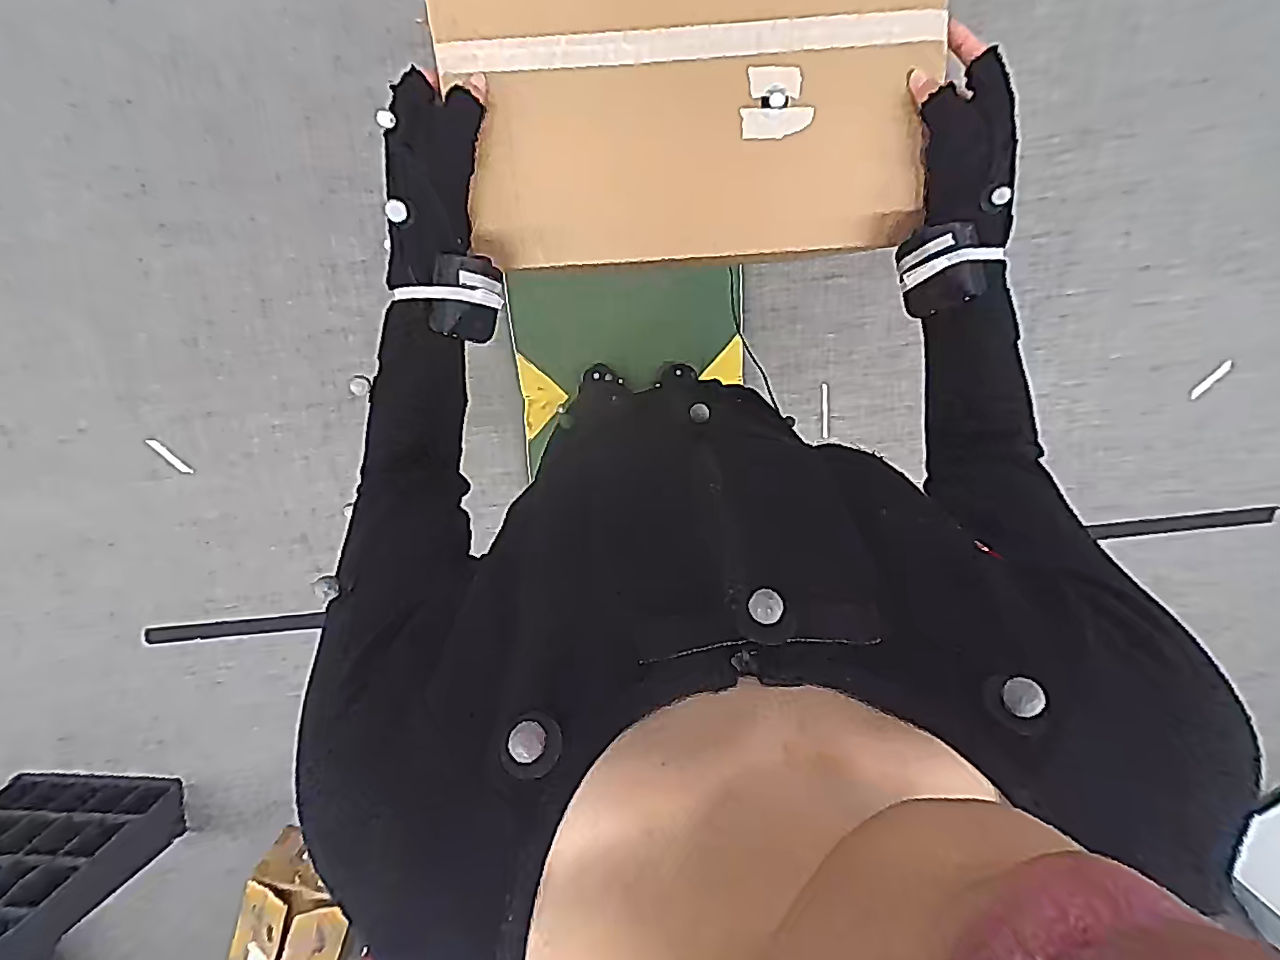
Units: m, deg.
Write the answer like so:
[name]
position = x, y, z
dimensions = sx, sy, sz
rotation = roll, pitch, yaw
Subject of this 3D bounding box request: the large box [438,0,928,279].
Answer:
[large box]
position = 0.032, -0.402, 0.588
dimensions = 0.408, 0.320, 0.320
rotation = -4, 110, -1
